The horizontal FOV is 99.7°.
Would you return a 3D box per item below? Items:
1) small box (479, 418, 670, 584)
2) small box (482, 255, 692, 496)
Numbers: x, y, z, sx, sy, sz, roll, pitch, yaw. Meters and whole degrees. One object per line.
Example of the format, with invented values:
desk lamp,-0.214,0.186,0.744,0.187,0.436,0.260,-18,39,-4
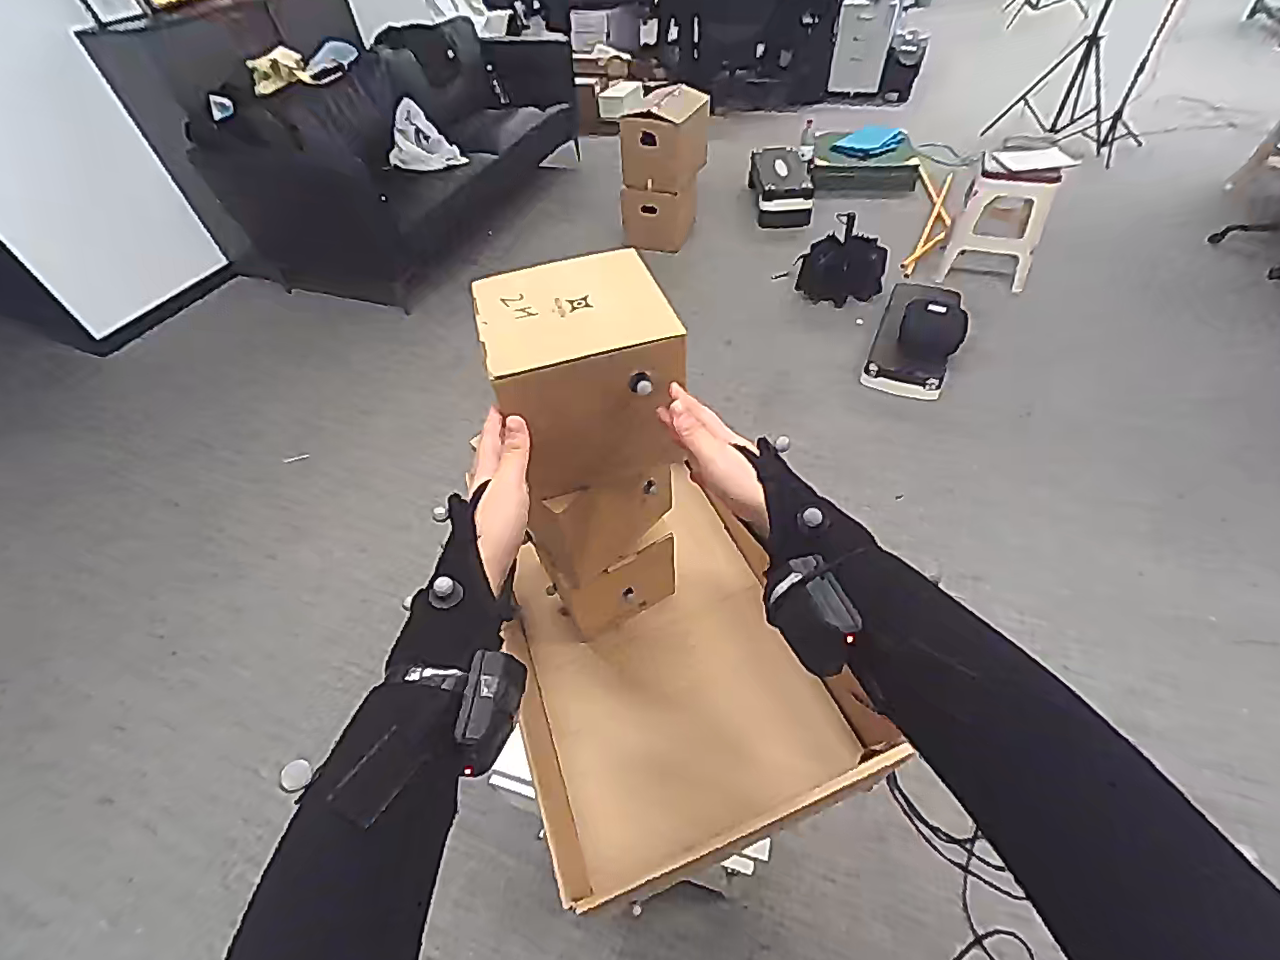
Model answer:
small box,-0.074,-0.001,0.709,0.168,0.176,0.179,34,62,29
small box,-0.054,-0.110,0.583,0.179,0.176,0.168,-16,50,-8
